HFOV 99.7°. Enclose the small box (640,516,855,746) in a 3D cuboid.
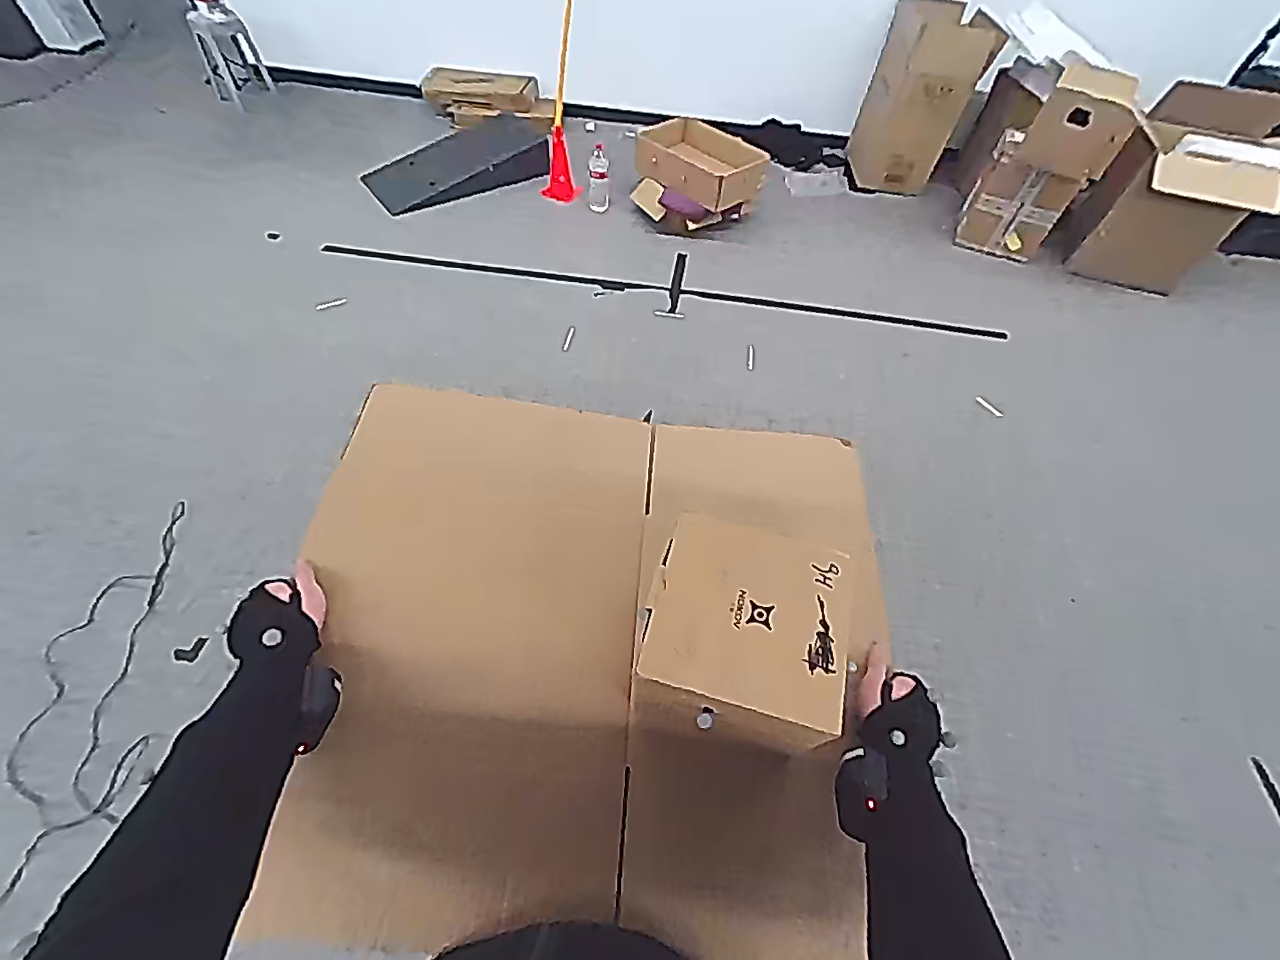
[{"bbox_3d":[0.105,0.163,0.564,0.179,0.176,0.168,13,59,9],"label":"small box"}]
